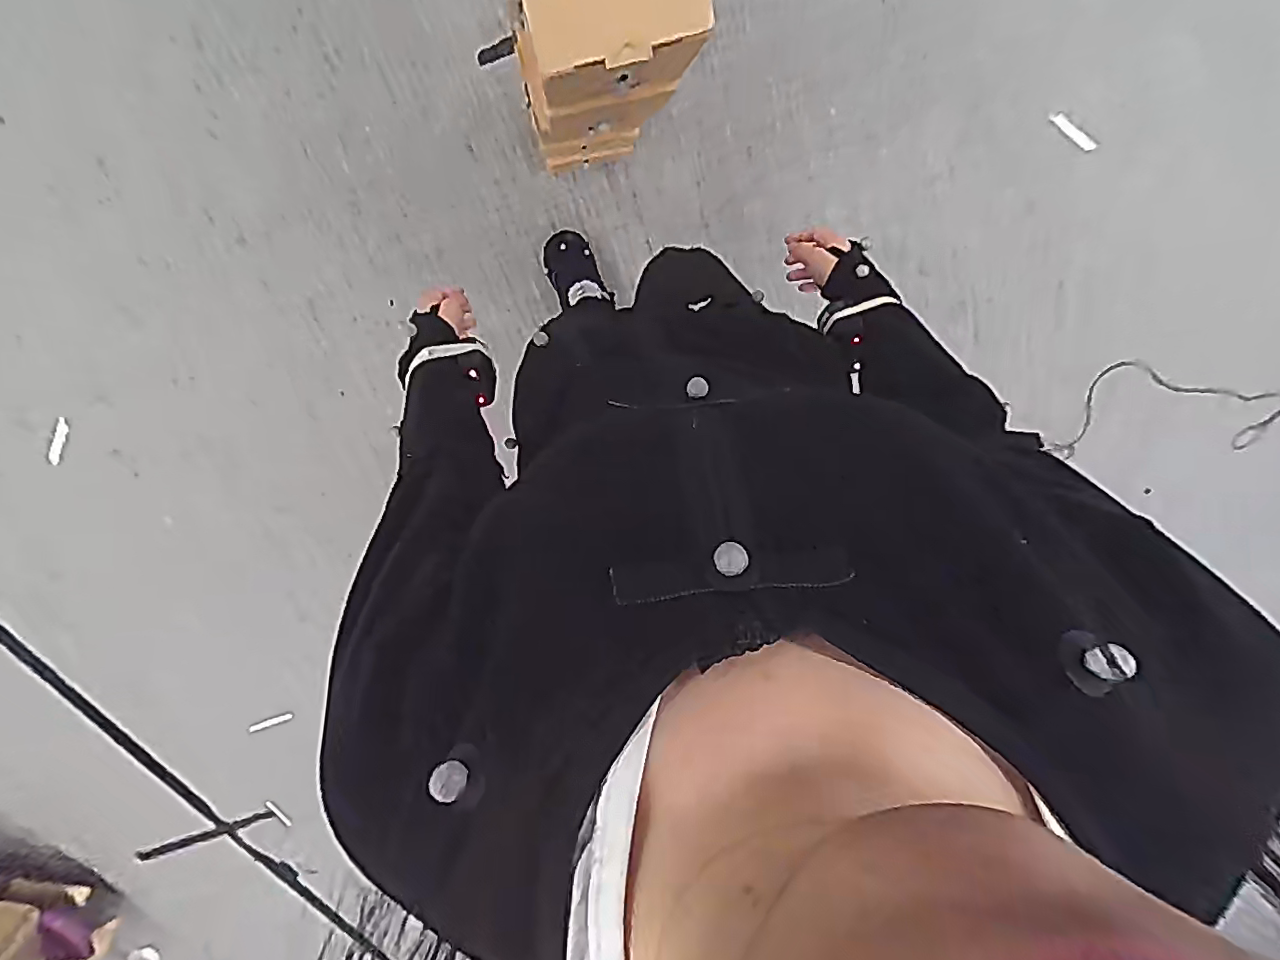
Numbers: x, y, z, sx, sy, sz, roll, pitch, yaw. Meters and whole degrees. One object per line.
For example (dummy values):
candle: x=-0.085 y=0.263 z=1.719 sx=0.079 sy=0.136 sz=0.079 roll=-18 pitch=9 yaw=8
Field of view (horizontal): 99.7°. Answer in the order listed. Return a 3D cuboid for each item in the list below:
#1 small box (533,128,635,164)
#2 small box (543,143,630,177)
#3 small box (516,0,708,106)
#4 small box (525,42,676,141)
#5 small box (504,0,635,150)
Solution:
small box: x=-0.112 y=-0.684 z=0.978 sx=0.179 sy=0.176 sz=0.168 roll=-10 pitch=116 yaw=-3
small box: x=-0.130 y=-0.745 z=1.130 sx=0.179 sy=0.176 sz=0.168 roll=-13 pitch=116 yaw=-2
small box: x=-0.042 y=-0.492 z=0.532 sx=0.168 sy=0.176 sz=0.179 roll=-15 pitch=117 yaw=0
small box: x=-0.060 y=-0.554 z=0.683 sx=0.168 sy=0.176 sz=0.179 roll=-13 pitch=117 yaw=-1
small box: x=-0.094 y=-0.622 z=0.829 sx=0.179 sy=0.176 sz=0.168 roll=-13 pitch=117 yaw=-2
